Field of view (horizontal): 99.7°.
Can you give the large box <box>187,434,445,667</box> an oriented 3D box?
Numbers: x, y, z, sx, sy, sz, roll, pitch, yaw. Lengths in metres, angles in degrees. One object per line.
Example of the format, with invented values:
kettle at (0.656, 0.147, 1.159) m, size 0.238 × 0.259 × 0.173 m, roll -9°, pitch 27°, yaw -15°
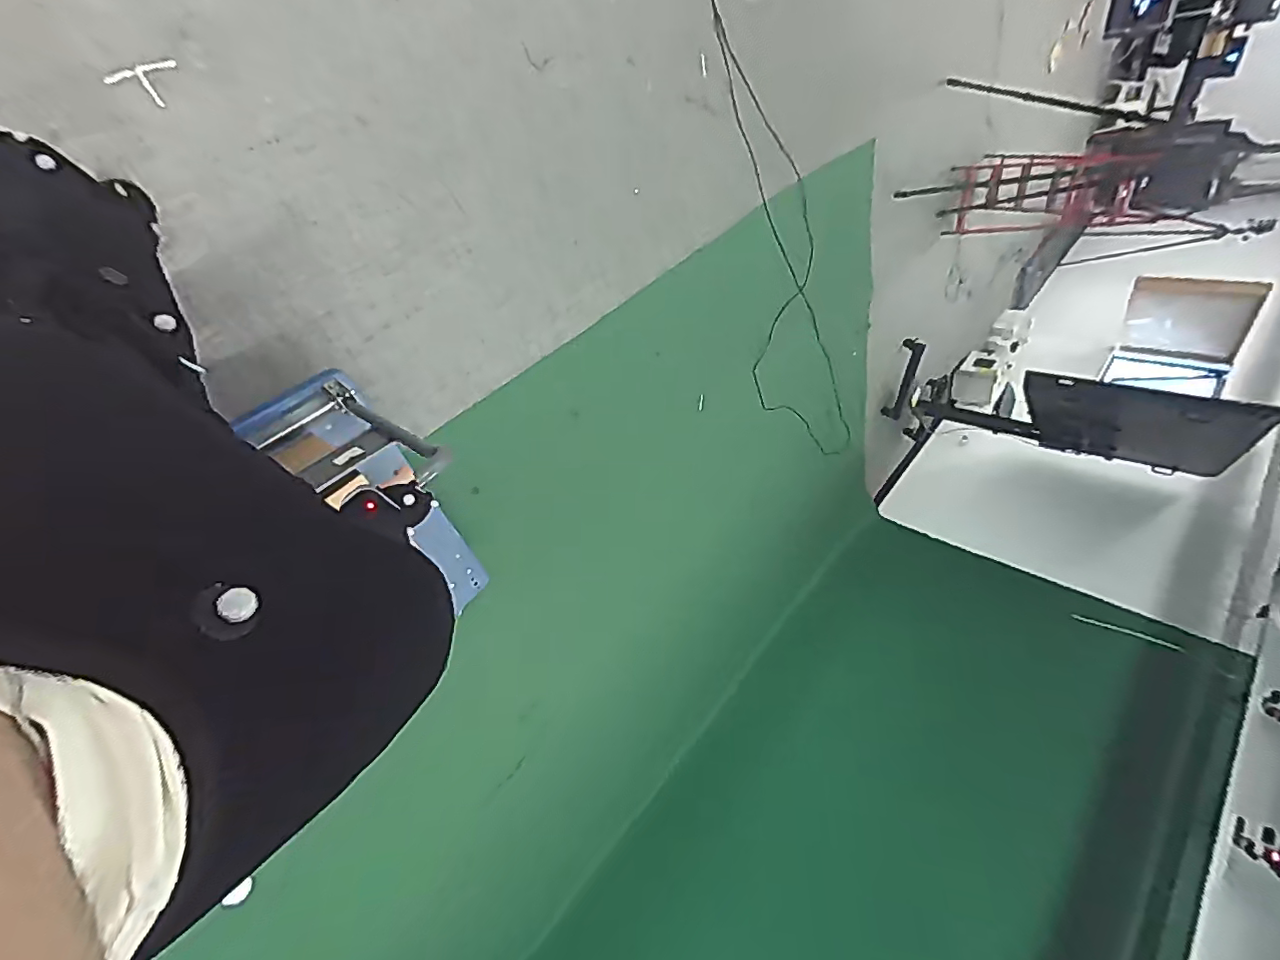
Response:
large box at (-0.761, 0.163, 1.303) m, size 0.320 × 0.320 × 0.408 m, roll -42°, pitch 136°, yaw -26°
